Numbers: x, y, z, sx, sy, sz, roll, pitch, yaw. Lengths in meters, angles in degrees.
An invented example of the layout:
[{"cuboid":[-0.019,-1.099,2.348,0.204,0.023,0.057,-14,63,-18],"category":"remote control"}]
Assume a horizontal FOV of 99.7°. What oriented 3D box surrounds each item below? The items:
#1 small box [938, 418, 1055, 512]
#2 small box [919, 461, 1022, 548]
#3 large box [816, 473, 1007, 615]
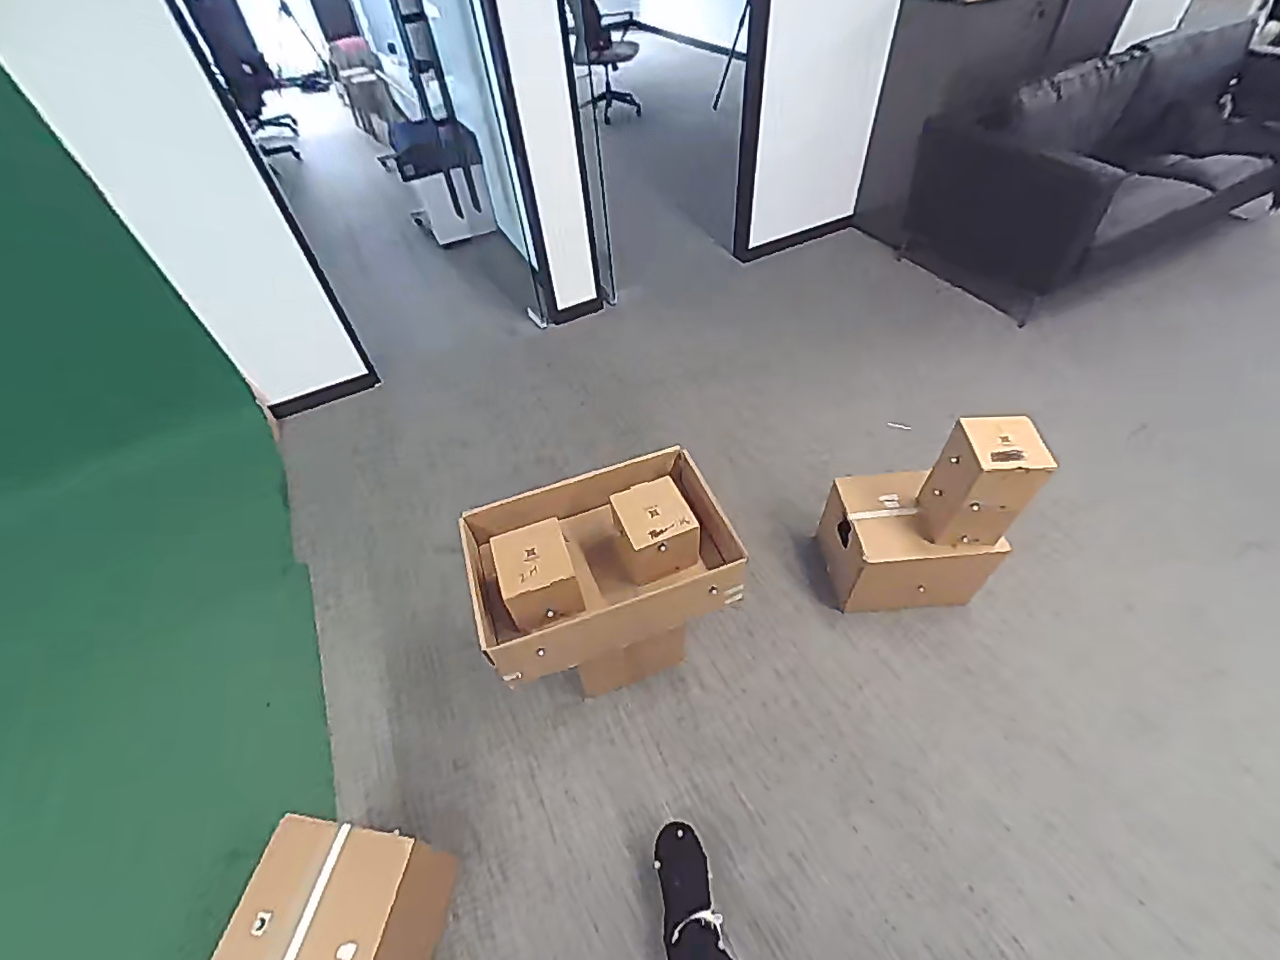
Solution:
[{"cuboid":[0.876,-0.034,1.349,0.168,0.176,0.179,0,50,5],"category":"small box"},{"cuboid":[0.890,0.066,1.478,0.168,0.176,0.179,0,51,5],"category":"small box"},{"cuboid":[0.813,0.202,1.690,0.408,0.320,0.320,-6,49,1],"category":"large box"}]
